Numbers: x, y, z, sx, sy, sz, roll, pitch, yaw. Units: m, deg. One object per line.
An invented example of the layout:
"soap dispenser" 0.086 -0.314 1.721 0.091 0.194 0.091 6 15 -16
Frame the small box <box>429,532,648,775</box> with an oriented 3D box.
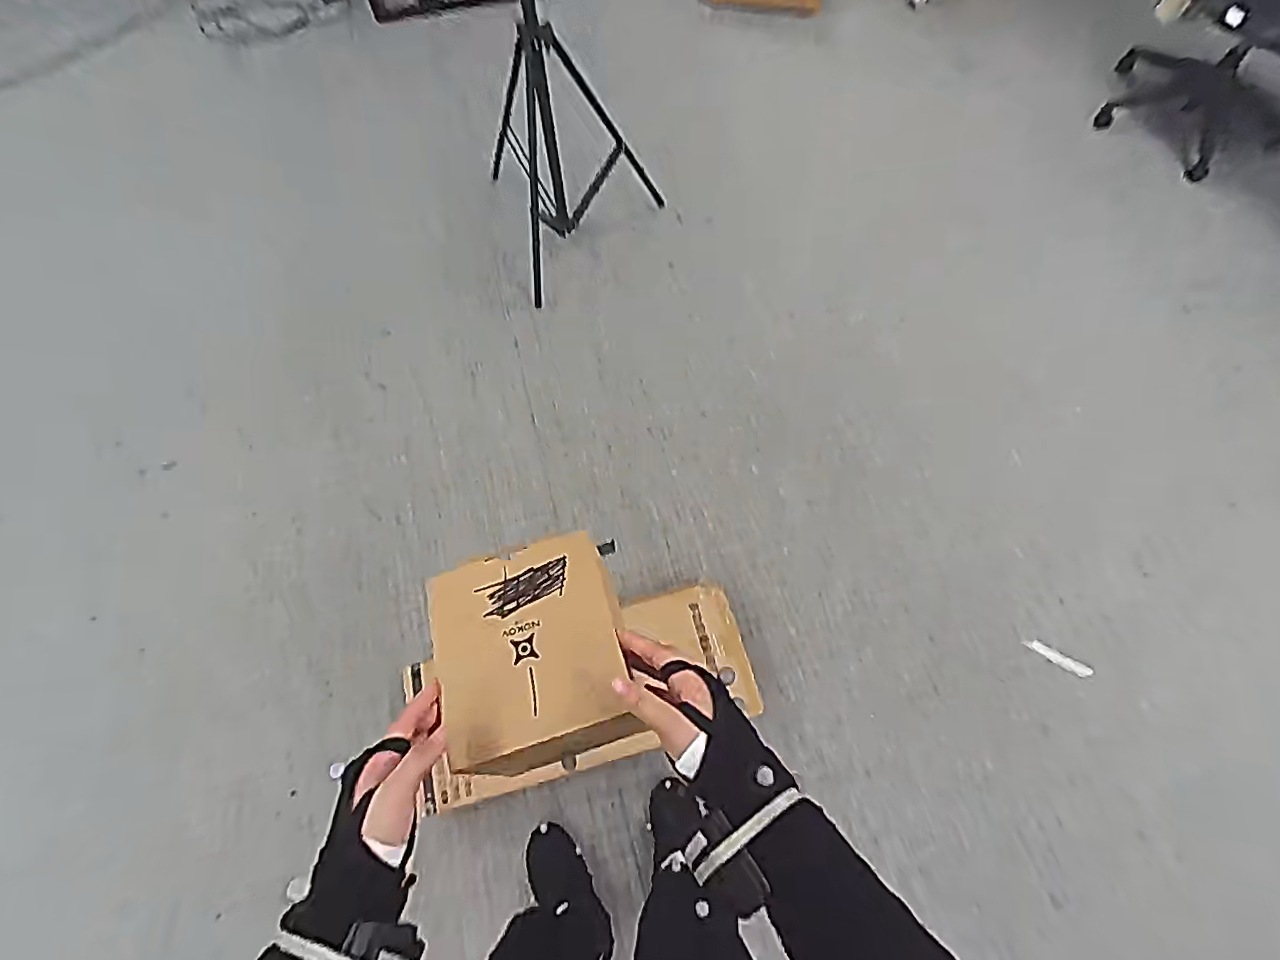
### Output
"small box" -0.096 0.183 0.553 0.168 0.176 0.179 -17 60 -4
